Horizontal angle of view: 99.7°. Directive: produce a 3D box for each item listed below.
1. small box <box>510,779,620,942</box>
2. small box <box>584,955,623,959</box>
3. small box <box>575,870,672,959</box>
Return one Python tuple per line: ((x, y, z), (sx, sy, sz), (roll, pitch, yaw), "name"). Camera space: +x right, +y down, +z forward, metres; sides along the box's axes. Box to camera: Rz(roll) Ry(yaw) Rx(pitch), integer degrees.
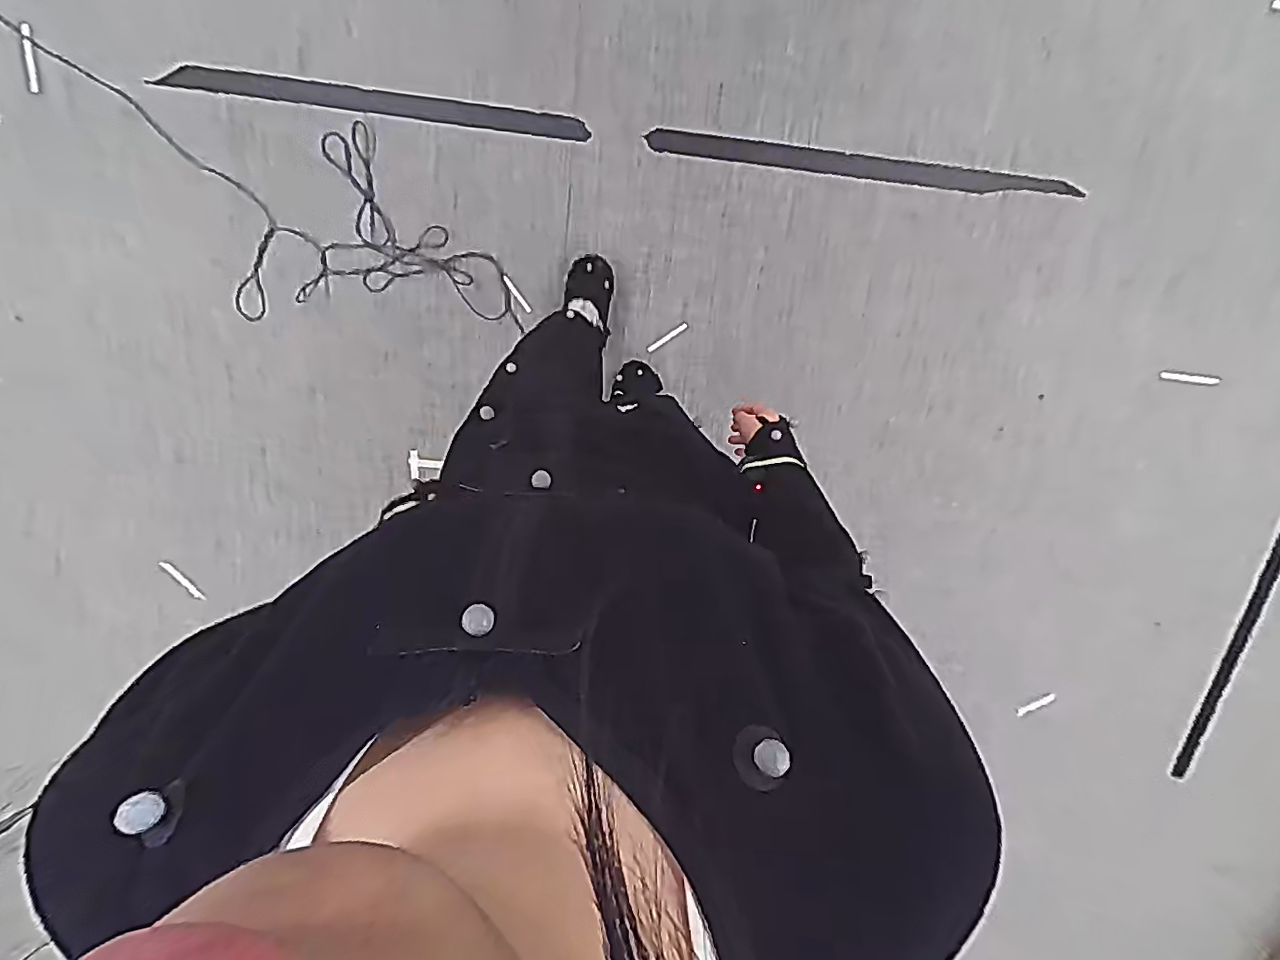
((-0.130, 0.686, 0.990), (0.168, 0.176, 0.179), (10, 105, -2), "small box")
((-0.031, 0.935, 0.889), (0.168, 0.176, 0.179), (6, 105, 0), "small box")
((-0.036, 0.893, 1.045), (0.168, 0.176, 0.179), (9, 106, -1), "small box")
